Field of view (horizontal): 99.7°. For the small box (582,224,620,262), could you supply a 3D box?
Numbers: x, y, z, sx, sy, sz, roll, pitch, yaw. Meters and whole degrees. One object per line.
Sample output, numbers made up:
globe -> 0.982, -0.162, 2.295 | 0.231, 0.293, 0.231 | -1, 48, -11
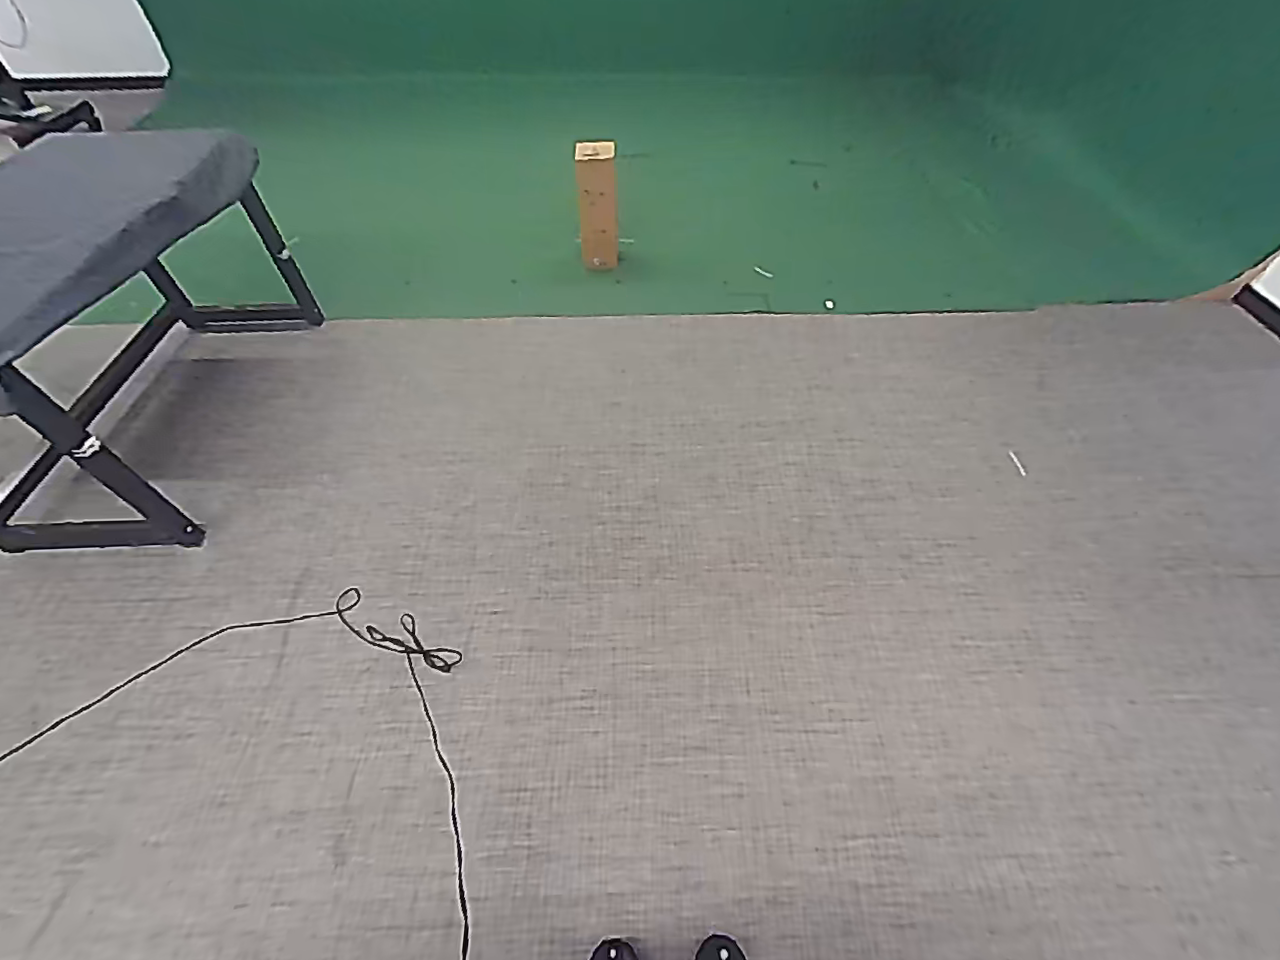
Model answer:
small box -> -0.183, -1.167, 2.591 | 0.168, 0.176, 0.179 | -1, 52, 2

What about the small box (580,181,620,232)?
small box -> -0.180, -1.258, 2.478 | 0.168, 0.176, 0.179 | -1, 51, 1

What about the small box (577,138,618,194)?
small box -> -0.180, -1.361, 2.350 | 0.168, 0.176, 0.179 | -2, 51, -1
